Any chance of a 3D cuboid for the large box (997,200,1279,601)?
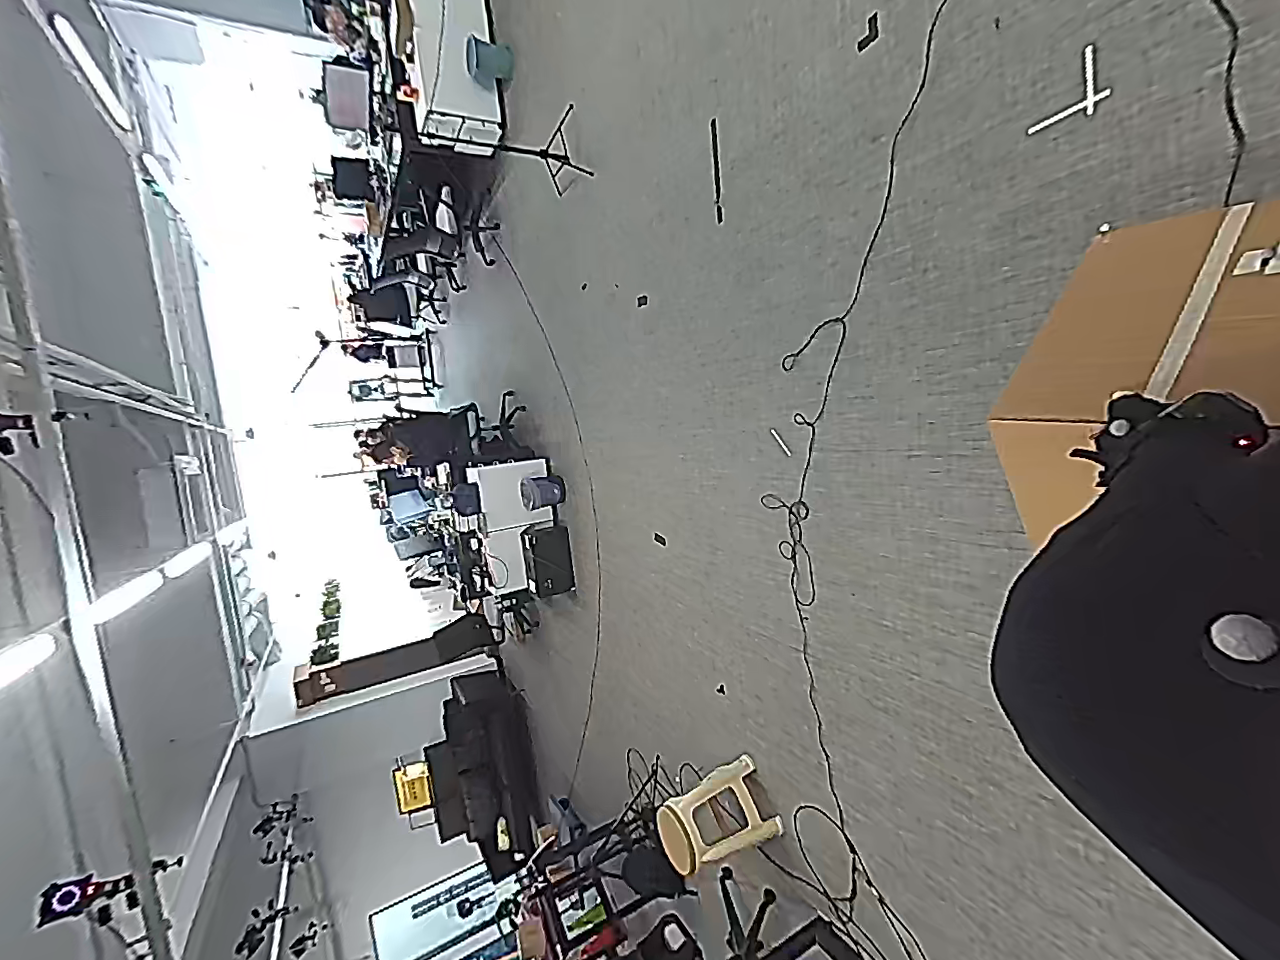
[{"bbox_3d":[0.750,-0.105,0.714,0.320,0.408,0.320,13,149,55],"label":"large box"}]
